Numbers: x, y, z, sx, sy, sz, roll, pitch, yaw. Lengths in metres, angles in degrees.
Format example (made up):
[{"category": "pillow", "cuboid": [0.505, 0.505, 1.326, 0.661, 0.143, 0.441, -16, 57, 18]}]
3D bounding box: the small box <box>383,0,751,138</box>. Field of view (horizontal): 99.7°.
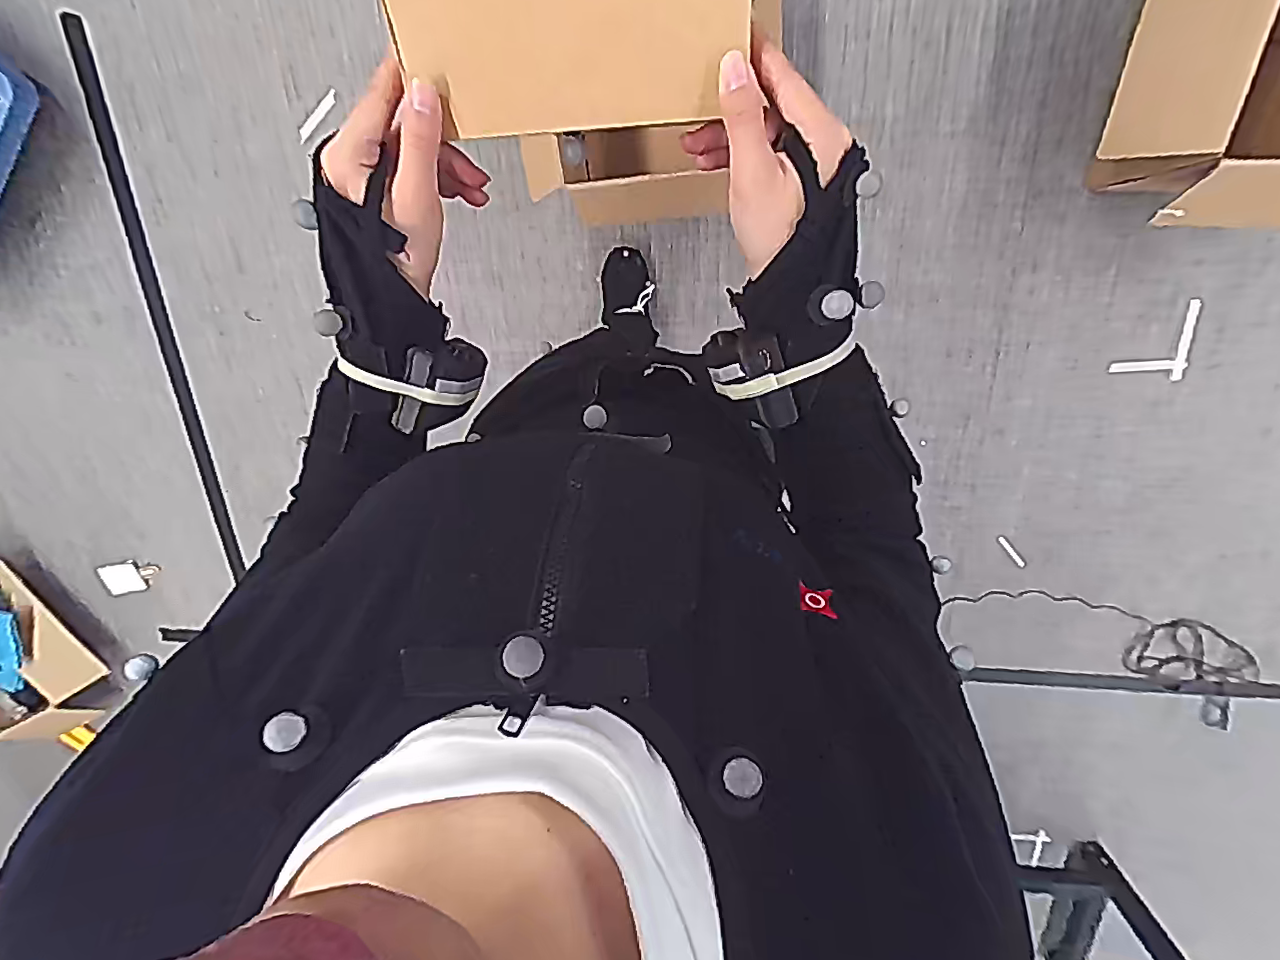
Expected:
[{"category": "small box", "cuboid": [-0.036, -0.297, 0.302, 0.179, 0.176, 0.168, -2, 124, 3]}]
